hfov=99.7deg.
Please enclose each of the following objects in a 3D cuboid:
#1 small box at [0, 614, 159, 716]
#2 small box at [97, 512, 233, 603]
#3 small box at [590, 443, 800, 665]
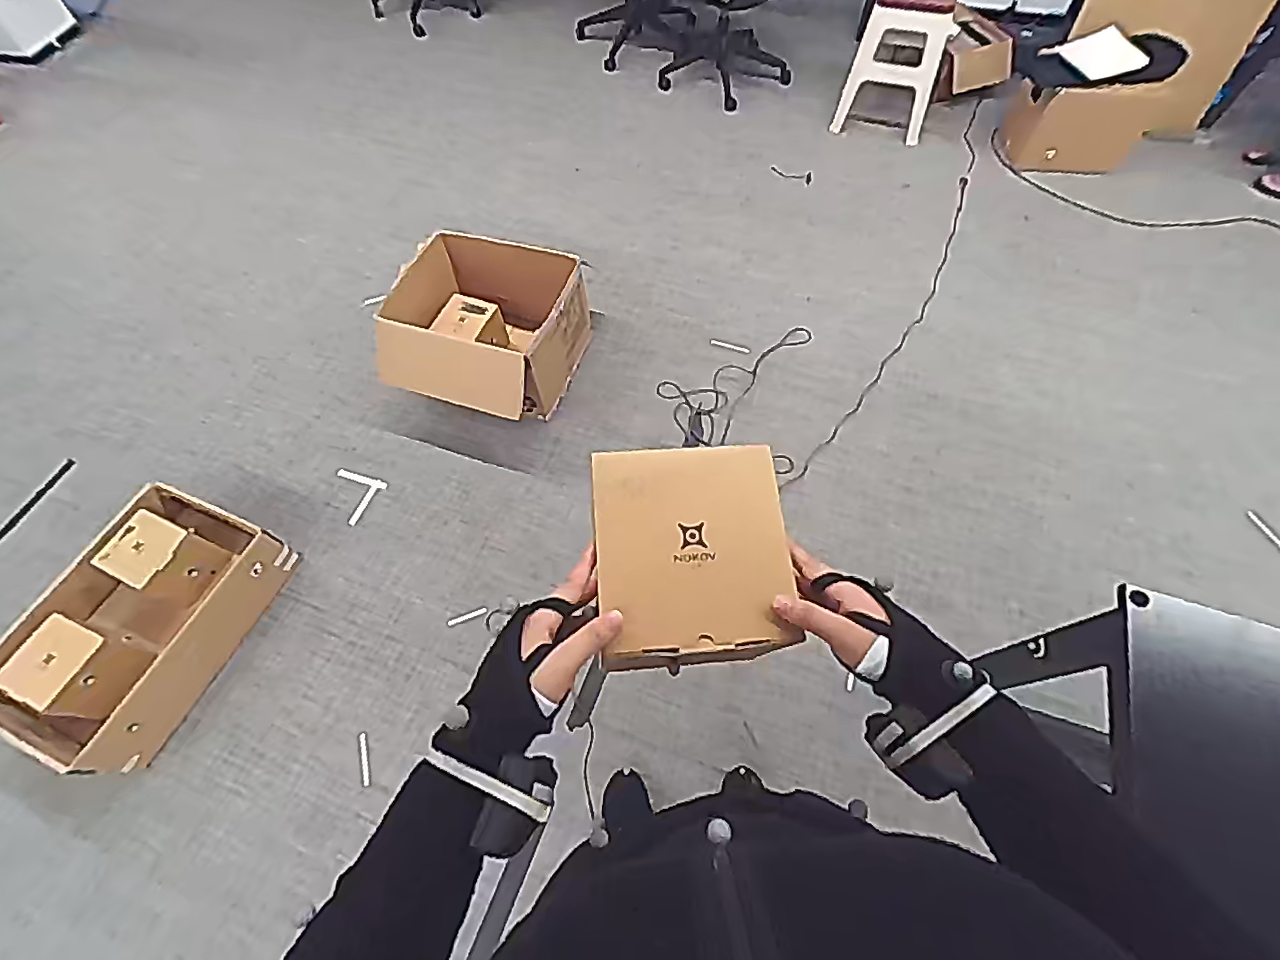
[{"bbox_3d":[-1.349,0.456,1.316,0.168,0.176,0.179,20,62,10],"label":"small box"},{"bbox_3d":[-1.252,0.214,1.443,0.179,0.176,0.168,22,66,11],"label":"small box"},{"bbox_3d":[0.036,0.079,0.532,0.168,0.176,0.179,-3,68,-5],"label":"small box"}]
